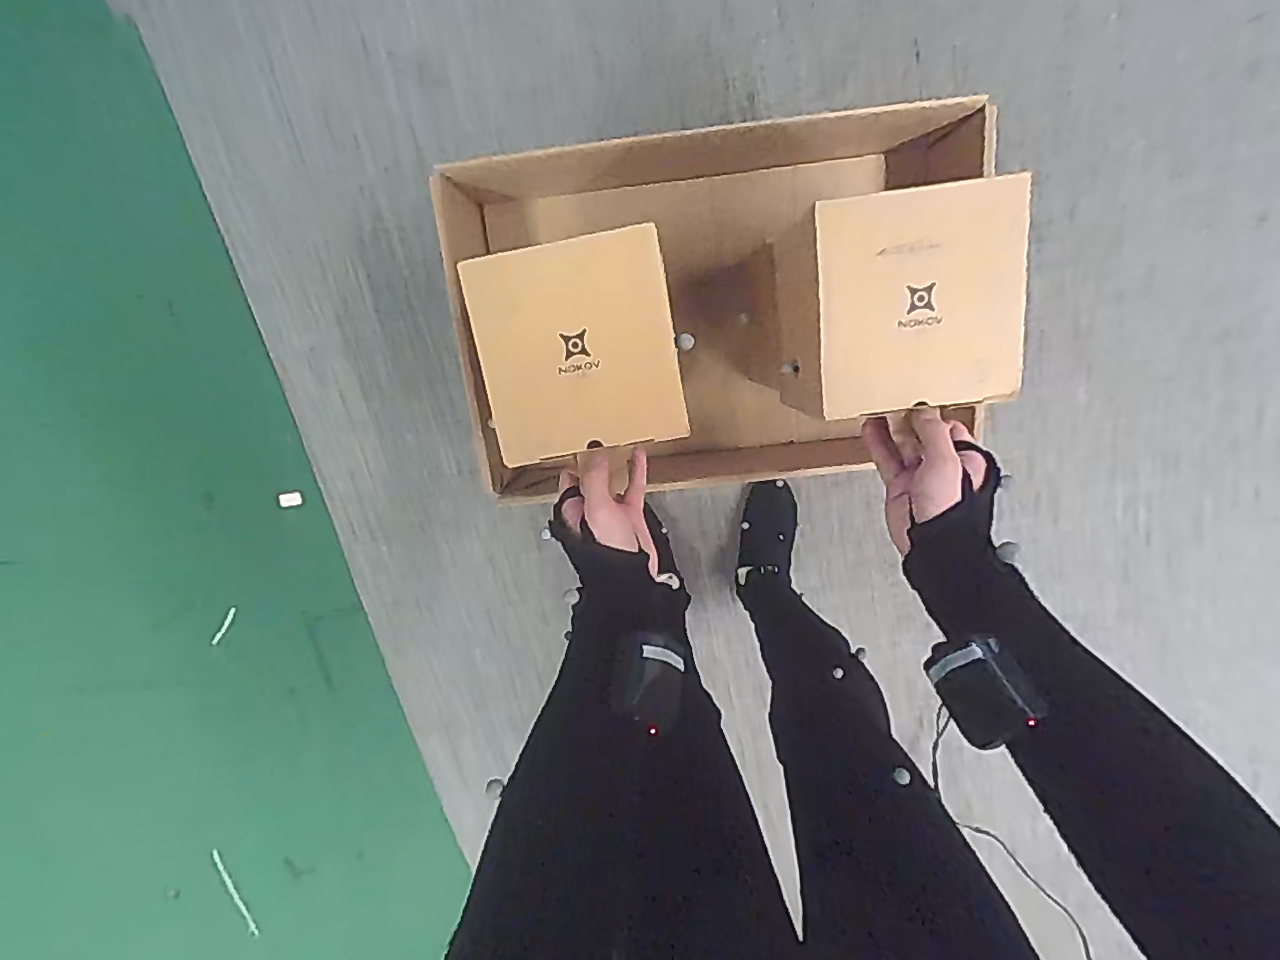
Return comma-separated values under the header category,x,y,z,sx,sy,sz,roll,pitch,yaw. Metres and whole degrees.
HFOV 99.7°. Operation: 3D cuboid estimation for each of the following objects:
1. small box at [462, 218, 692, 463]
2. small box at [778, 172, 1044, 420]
category,x,y,z,sx,sy,sz,roll,pitch,yaw
small box,-0.048,-0.126,0.520,0.168,0.176,0.179,-9,103,4
small box,0.230,-0.158,0.503,0.168,0.176,0.179,-5,102,3
